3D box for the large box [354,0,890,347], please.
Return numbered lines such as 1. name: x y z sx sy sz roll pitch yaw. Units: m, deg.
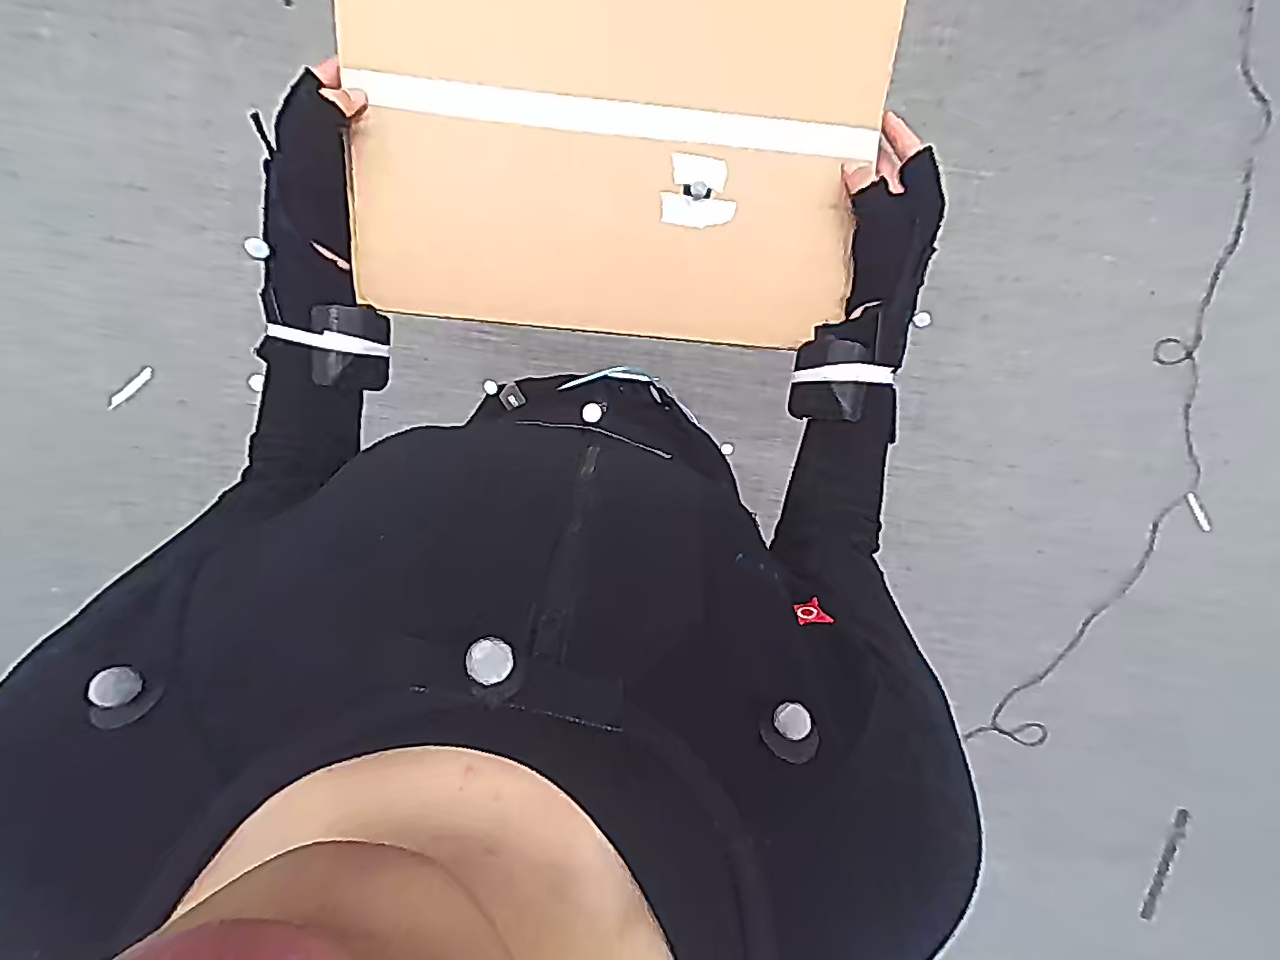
1. large box: -0.025 -0.319 0.566 0.408 0.320 0.320 4 108 -4
